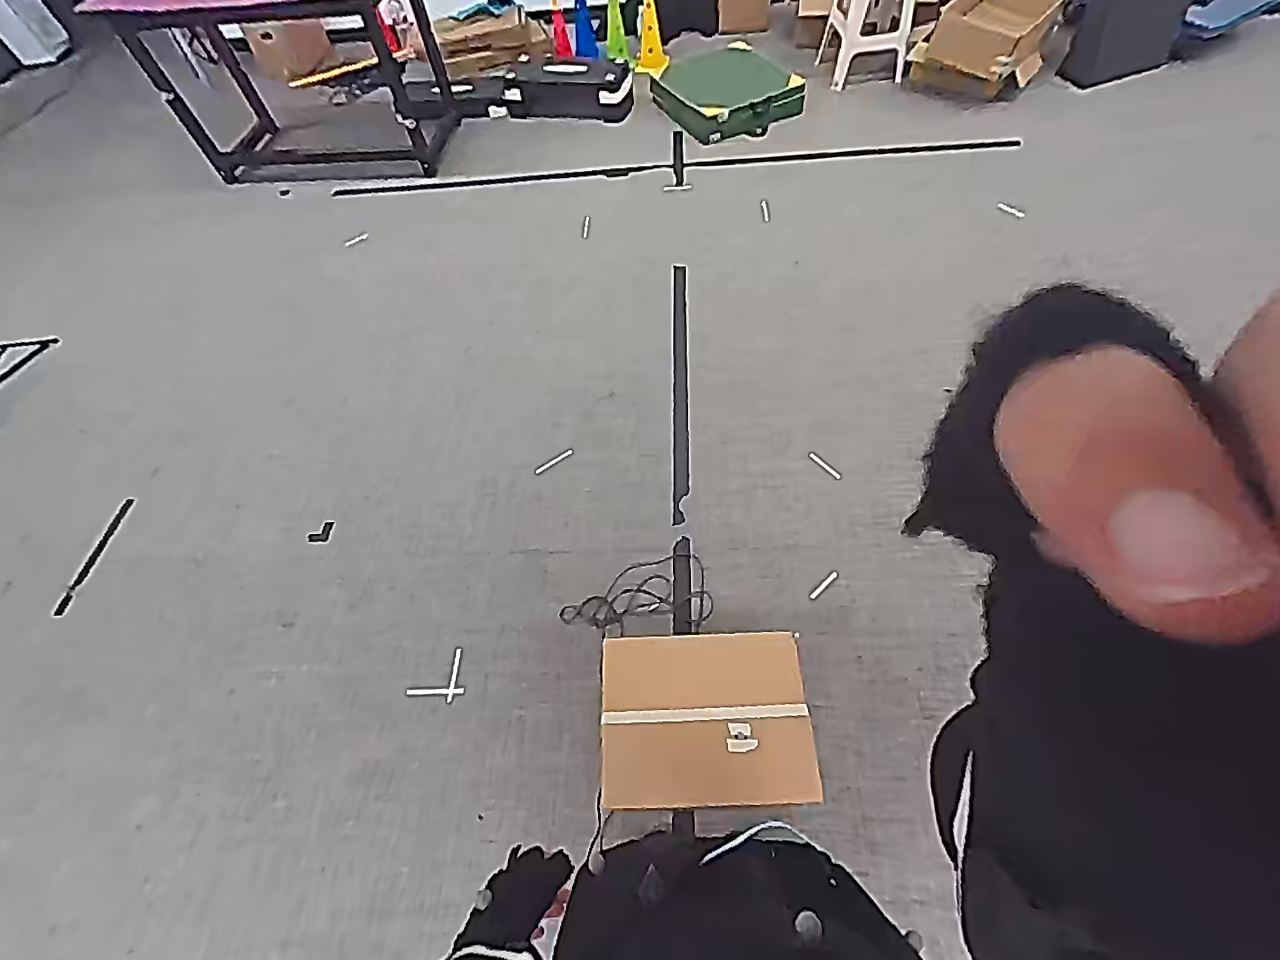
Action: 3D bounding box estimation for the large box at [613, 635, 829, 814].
[{"bbox_3d":[0.152,0.547,1.191,0.408,0.320,0.320,-2,58,2],"label":"large box"}]
